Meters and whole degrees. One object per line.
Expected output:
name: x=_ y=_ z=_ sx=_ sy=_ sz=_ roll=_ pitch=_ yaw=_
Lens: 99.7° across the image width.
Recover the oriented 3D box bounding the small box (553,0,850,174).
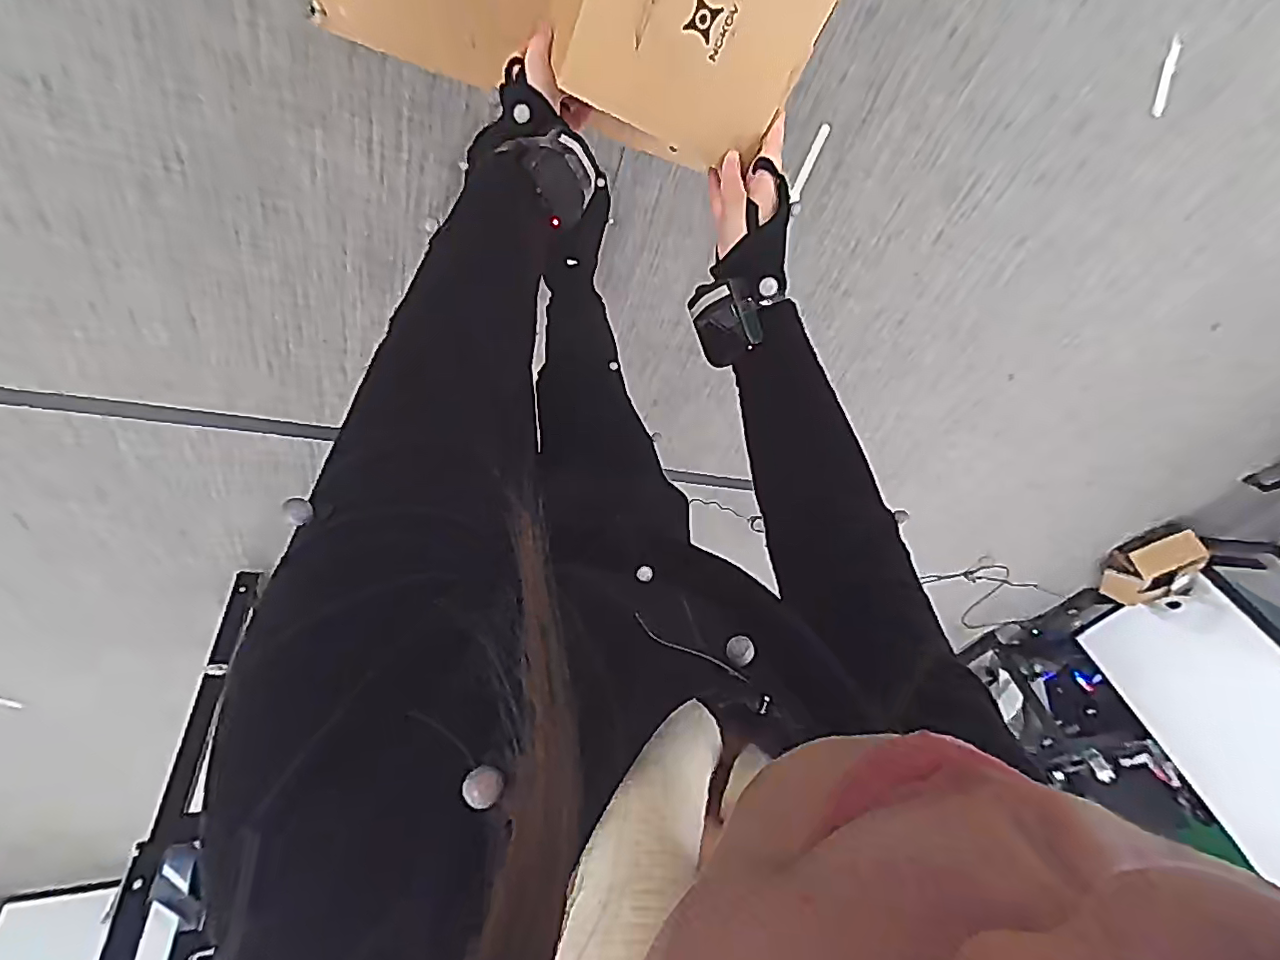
small box: x=0.041 y=-0.392 z=0.435 sx=0.179 sy=0.176 sz=0.168 roll=12 pitch=133 yaw=-26

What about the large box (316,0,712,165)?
large box: x=-0.076 y=-0.592 z=0.552 sx=0.408 sy=0.320 sz=0.320 roll=8 pitch=133 yaw=-22
